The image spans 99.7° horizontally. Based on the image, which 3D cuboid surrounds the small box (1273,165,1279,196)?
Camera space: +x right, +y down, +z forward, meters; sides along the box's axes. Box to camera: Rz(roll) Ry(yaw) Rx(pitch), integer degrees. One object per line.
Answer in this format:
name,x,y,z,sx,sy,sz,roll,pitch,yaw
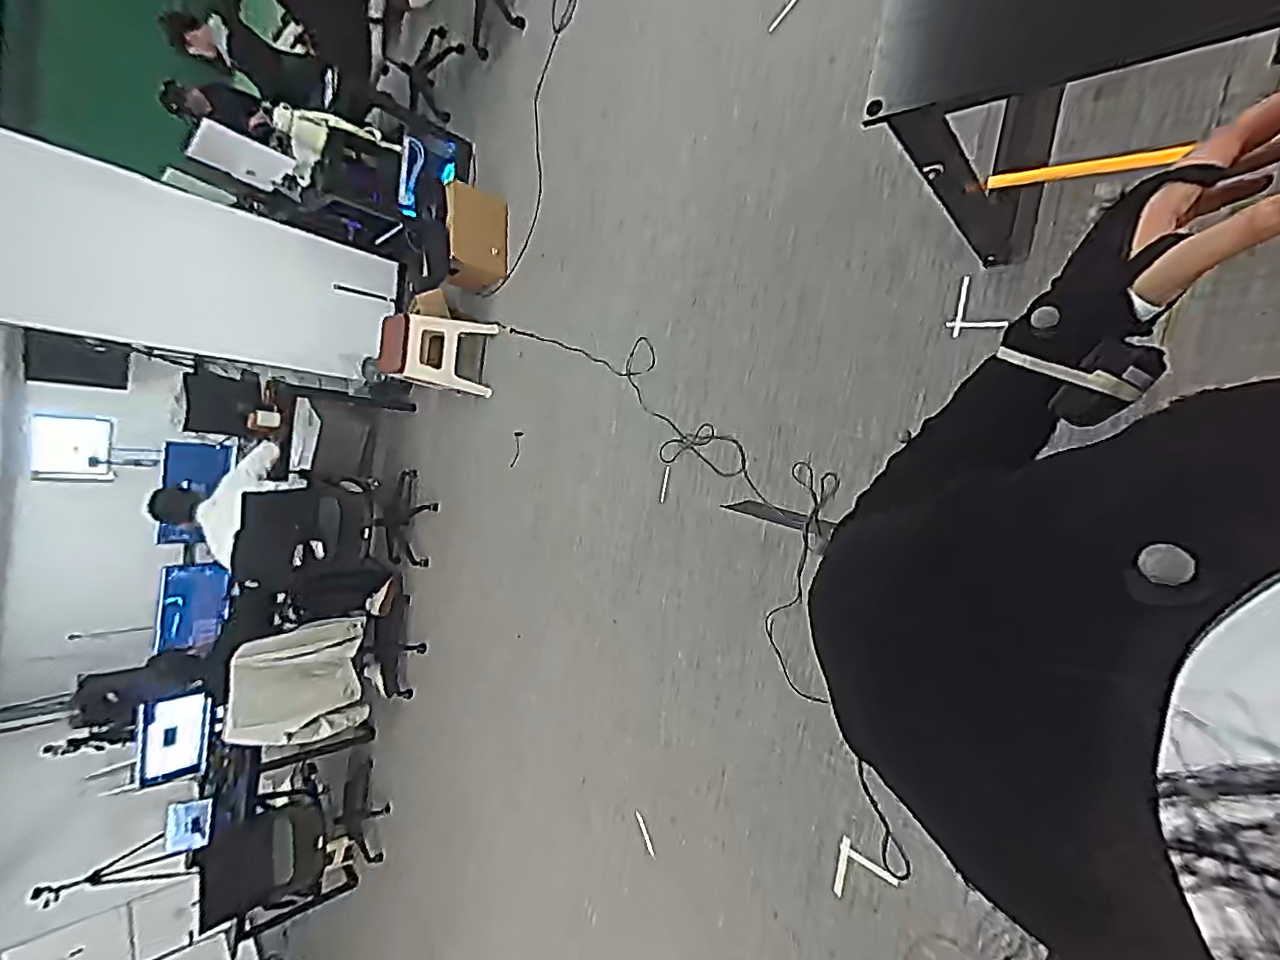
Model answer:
small box,0.454,-0.236,0.257,0.168,0.176,0.179,18,116,44
